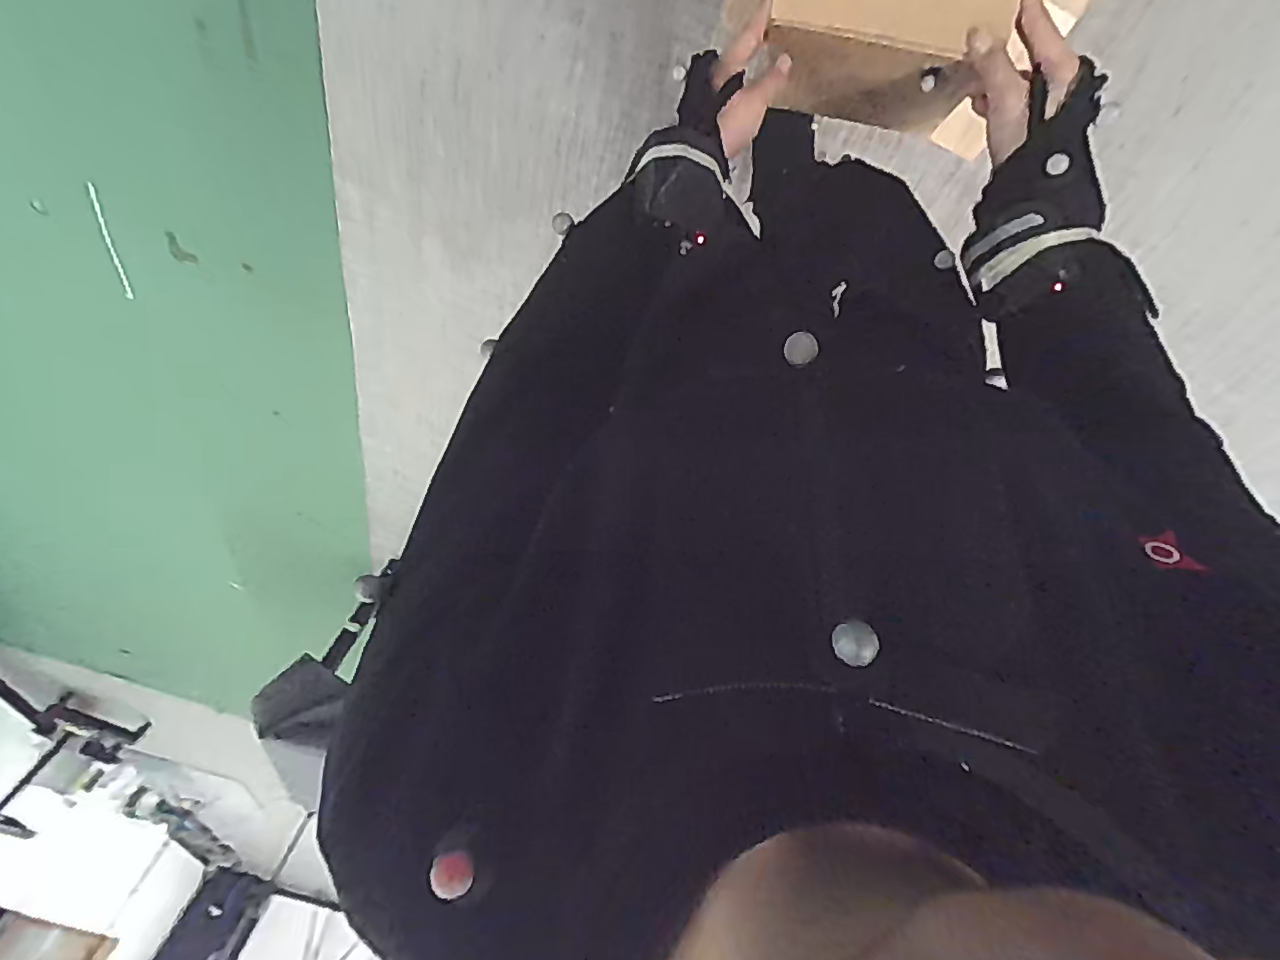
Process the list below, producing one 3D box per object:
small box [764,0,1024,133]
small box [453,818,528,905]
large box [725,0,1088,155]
[{"bbox_3d":[0.210,-0.419,0.452,0.179,0.176,0.168,14,108,5],"label":"small box"},{"bbox_3d":[-0.454,1.162,1.653,0.168,0.176,0.179,20,132,-2],"label":"small box"},{"bbox_3d":[0.365,-0.724,0.751,0.408,0.320,0.320,22,131,-8],"label":"large box"}]
